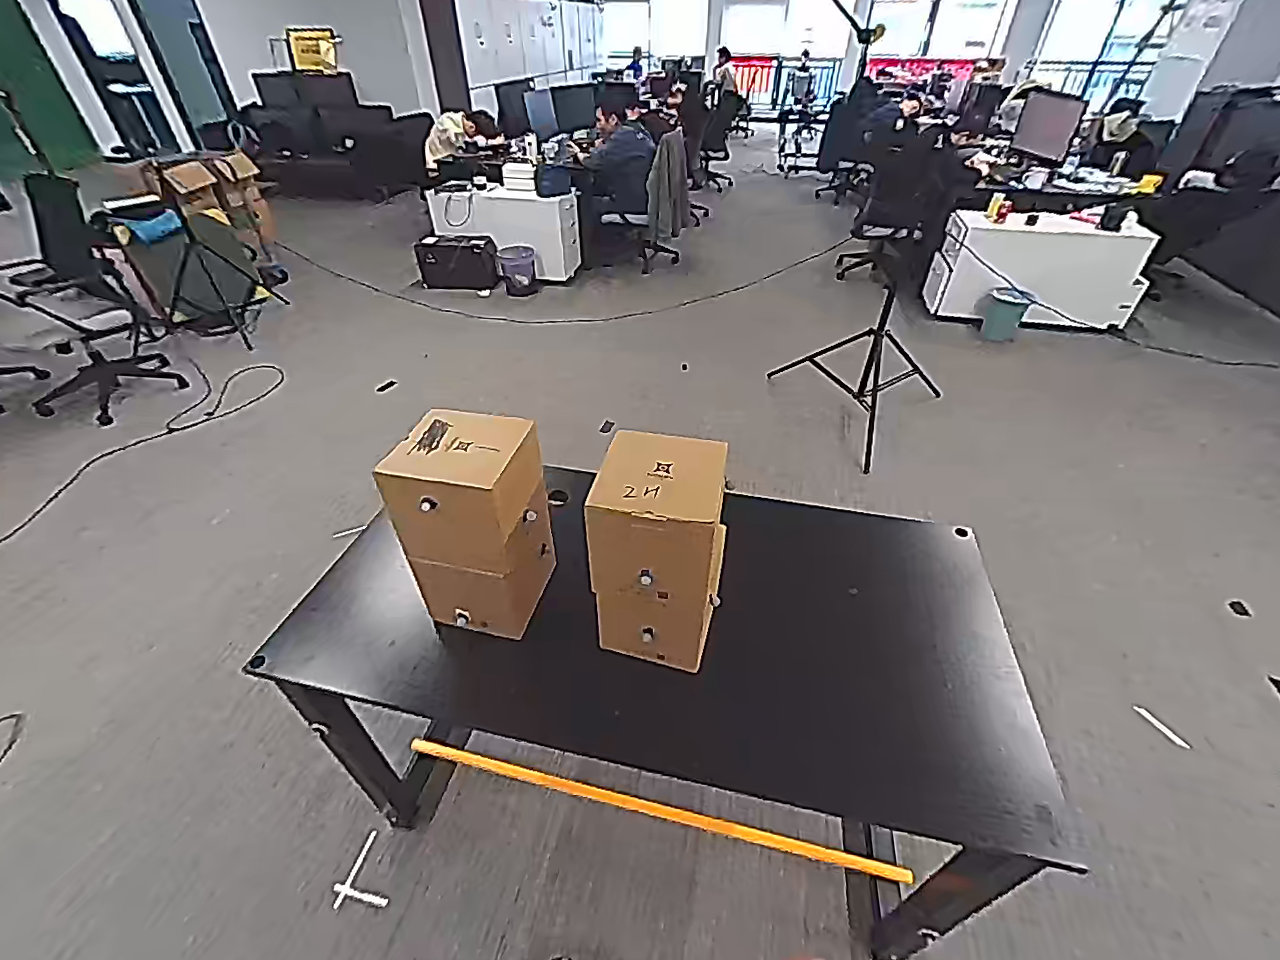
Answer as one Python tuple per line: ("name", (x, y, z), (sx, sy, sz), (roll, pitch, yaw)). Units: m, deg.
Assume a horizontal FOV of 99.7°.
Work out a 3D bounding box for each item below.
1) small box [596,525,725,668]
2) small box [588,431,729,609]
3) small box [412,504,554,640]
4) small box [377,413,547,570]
("small box", (0.038, 0.177, 0.887), (0.168, 0.176, 0.179), (11, 41, 13))
("small box", (0.030, 0.054, 0.776), (0.168, 0.176, 0.179), (7, 40, 10))
("small box", (-0.255, 0.143, 0.930), (0.168, 0.176, 0.179), (7, 41, 11))
("small box", (-0.256, 0.017, 0.824), (0.179, 0.176, 0.168), (8, 40, 9))
